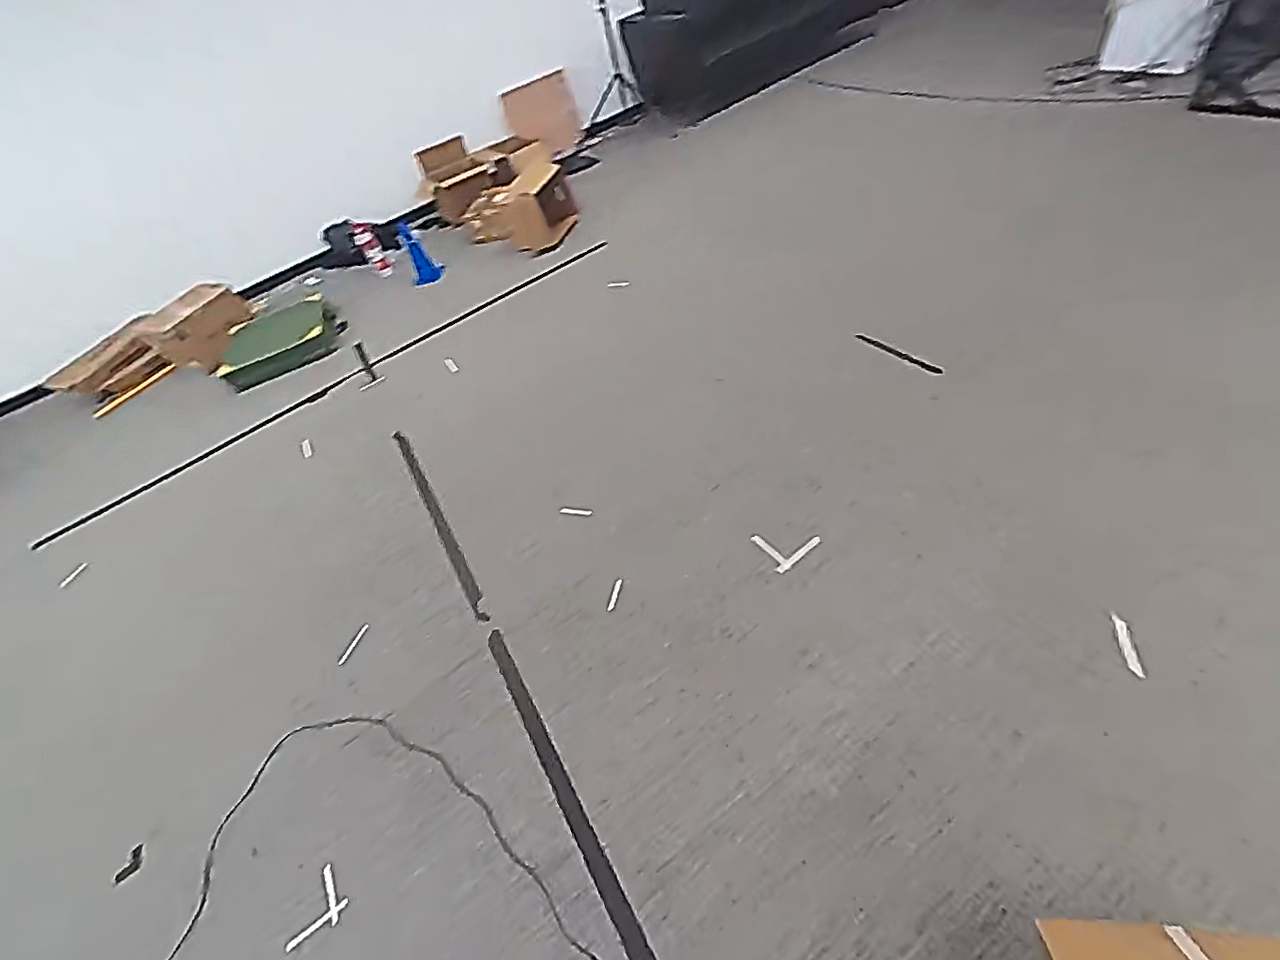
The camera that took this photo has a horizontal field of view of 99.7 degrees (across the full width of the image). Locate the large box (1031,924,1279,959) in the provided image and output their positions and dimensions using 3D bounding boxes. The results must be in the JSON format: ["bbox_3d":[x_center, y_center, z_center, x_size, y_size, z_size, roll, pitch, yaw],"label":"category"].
[{"bbox_3d":[0.640,0.721,0.495,0.320,0.408,0.320,-12,83,17],"label":"large box"}]
